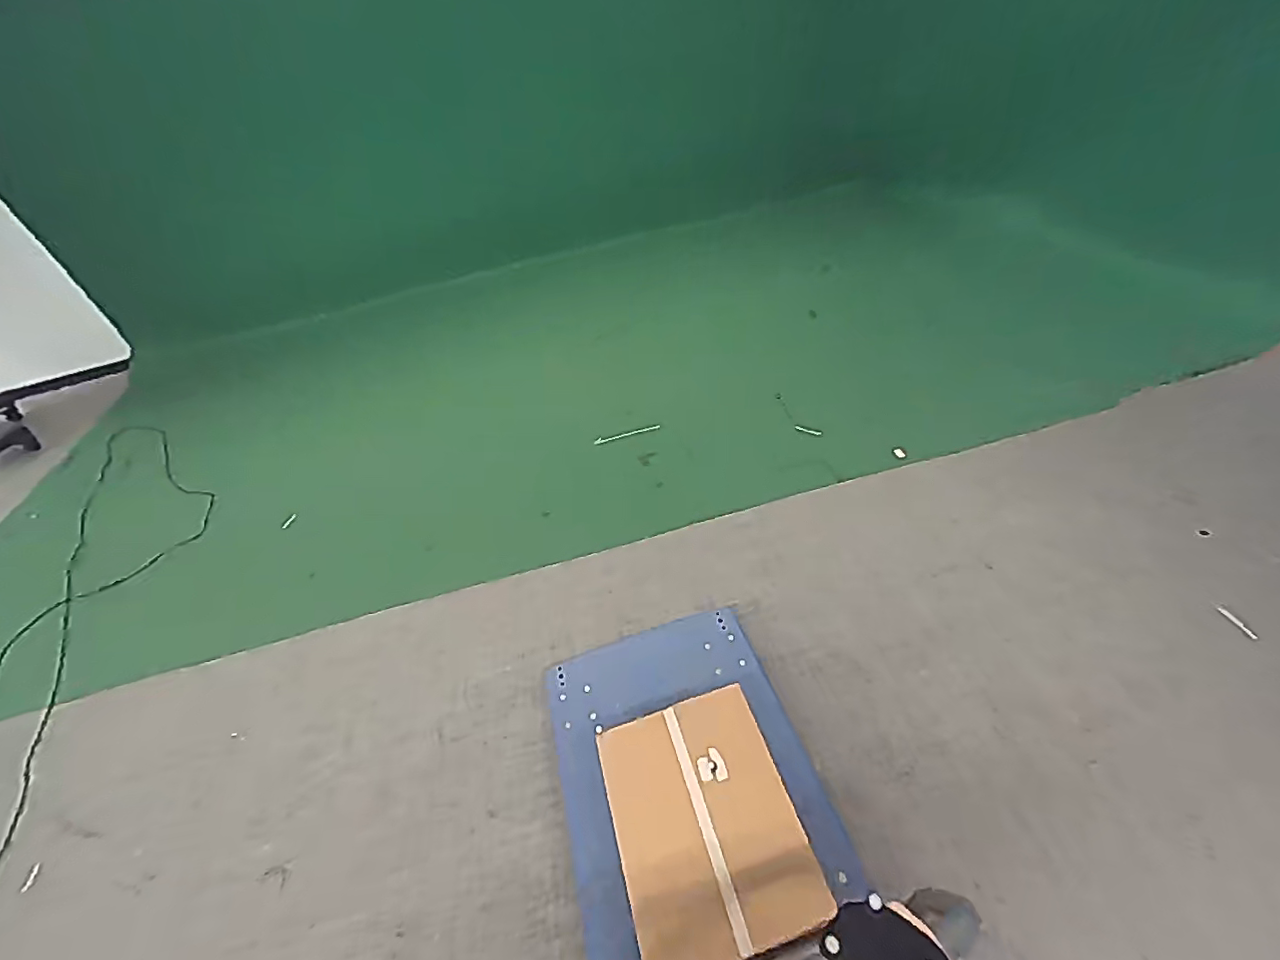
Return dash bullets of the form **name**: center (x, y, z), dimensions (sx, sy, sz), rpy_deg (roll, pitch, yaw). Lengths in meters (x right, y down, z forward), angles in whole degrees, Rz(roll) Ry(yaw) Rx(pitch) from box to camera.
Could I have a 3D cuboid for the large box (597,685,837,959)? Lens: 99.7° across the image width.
- **large box**: center (0.138, 0.700, 1.062), dimensions (0.320, 0.320, 0.408), rpy_deg (-18, 42, -5)
